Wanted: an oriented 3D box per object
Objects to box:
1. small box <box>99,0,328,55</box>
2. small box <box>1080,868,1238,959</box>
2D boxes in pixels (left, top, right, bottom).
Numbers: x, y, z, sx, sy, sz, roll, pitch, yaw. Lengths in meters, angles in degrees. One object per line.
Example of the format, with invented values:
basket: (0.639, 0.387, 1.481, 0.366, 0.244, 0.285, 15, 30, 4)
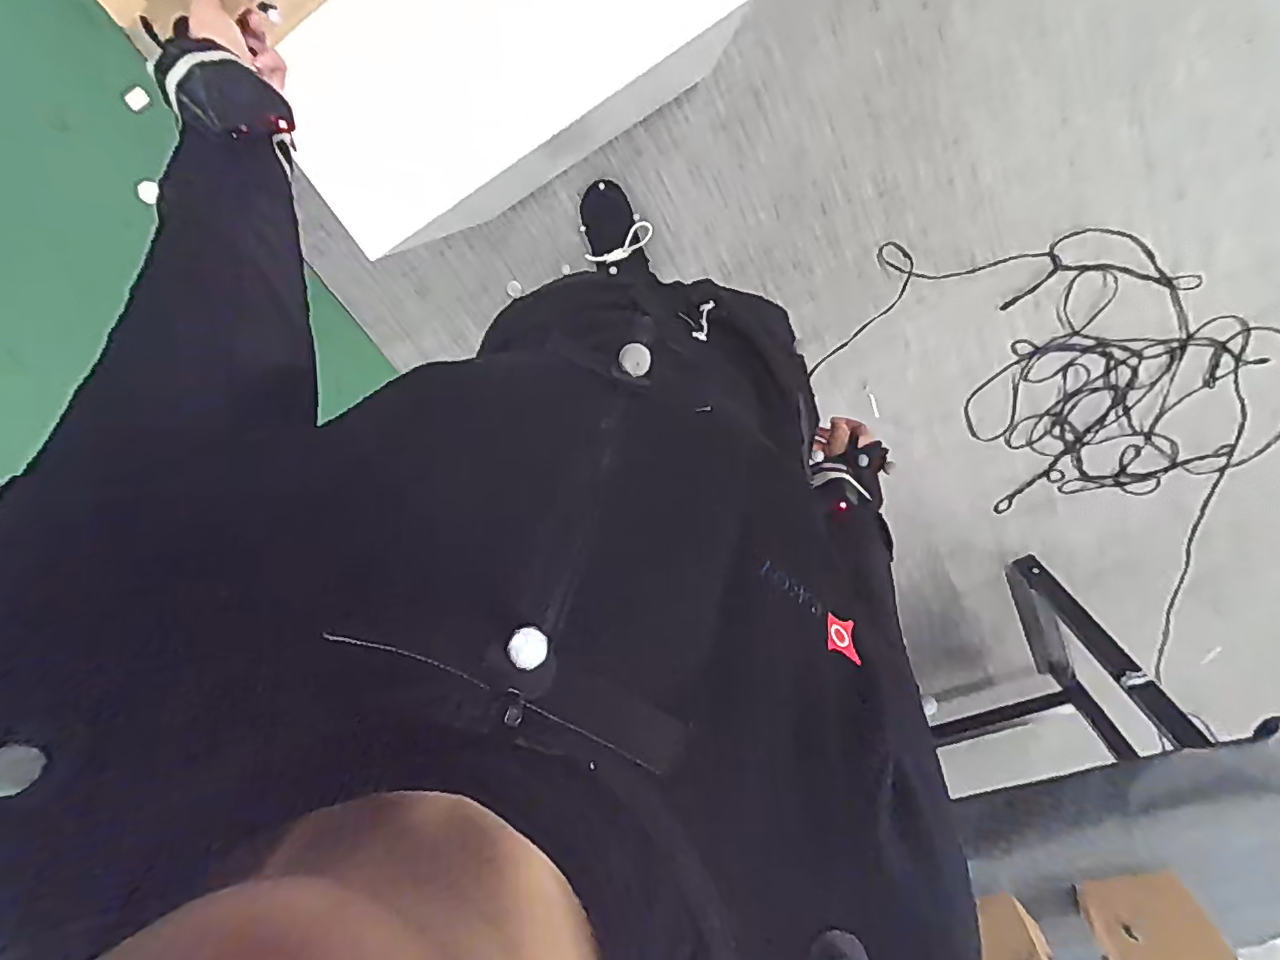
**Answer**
small box: (-0.369, -0.488, 0.429, 0.168, 0.176, 0.179, -25, 118, 14)
small box: (0.995, 0.892, 1.047, 0.179, 0.176, 0.168, -22, 119, 13)
